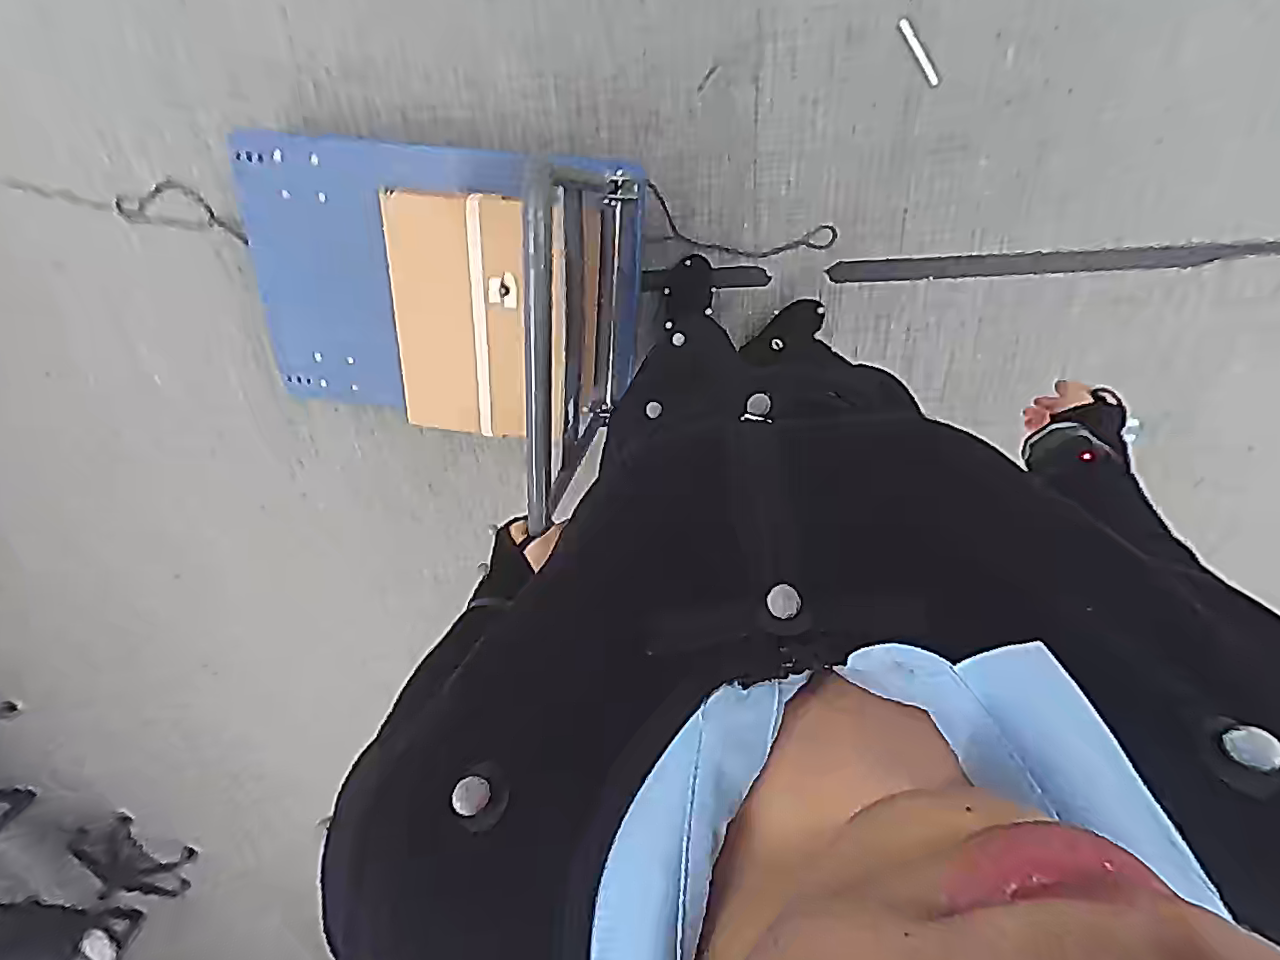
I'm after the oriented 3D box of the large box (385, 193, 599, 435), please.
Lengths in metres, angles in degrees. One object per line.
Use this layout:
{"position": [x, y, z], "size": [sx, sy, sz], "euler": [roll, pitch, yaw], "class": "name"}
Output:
{"position": [-0.261, -0.340, 1.091], "size": [0.320, 0.320, 0.408], "euler": [6, 116, 2], "class": "large box"}
